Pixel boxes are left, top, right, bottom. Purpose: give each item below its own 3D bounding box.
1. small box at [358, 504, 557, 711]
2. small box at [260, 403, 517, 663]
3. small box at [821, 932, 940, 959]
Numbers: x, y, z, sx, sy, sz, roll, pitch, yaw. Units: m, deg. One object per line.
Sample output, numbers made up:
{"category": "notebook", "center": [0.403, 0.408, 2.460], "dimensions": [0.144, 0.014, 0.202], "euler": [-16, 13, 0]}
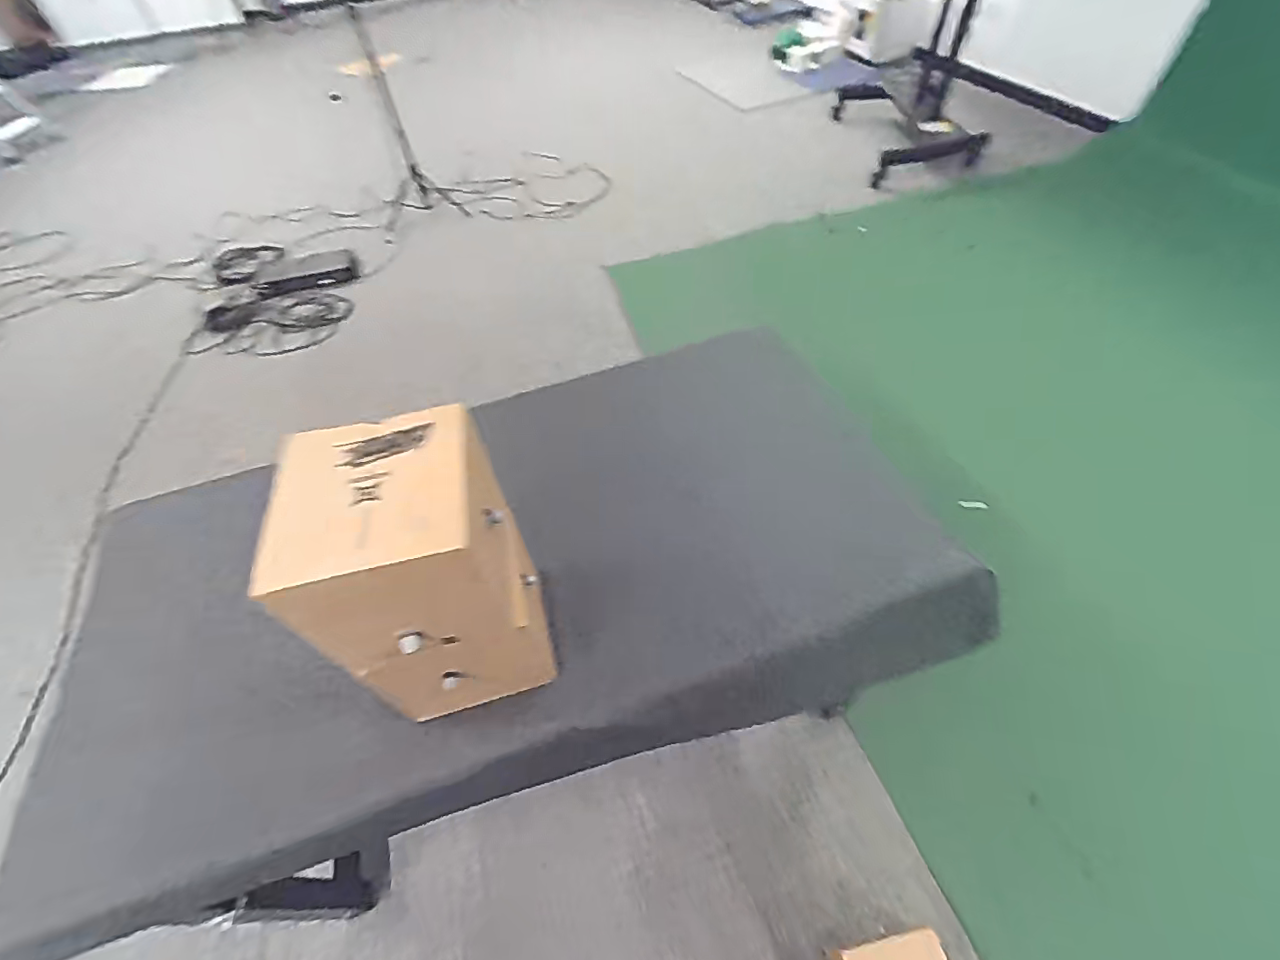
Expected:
{"category": "small box", "center": [-0.213, 0.160, 0.660], "dimensions": [0.179, 0.176, 0.168], "euler": [-14, 51, -7]}
{"category": "small box", "center": [-0.224, 0.054, 0.534], "dimensions": [0.168, 0.176, 0.179], "euler": [-11, 51, -5]}
{"category": "small box", "center": [0.438, 0.913, 0.944], "dimensions": [0.179, 0.176, 0.168], "euler": [-12, 50, -3]}
